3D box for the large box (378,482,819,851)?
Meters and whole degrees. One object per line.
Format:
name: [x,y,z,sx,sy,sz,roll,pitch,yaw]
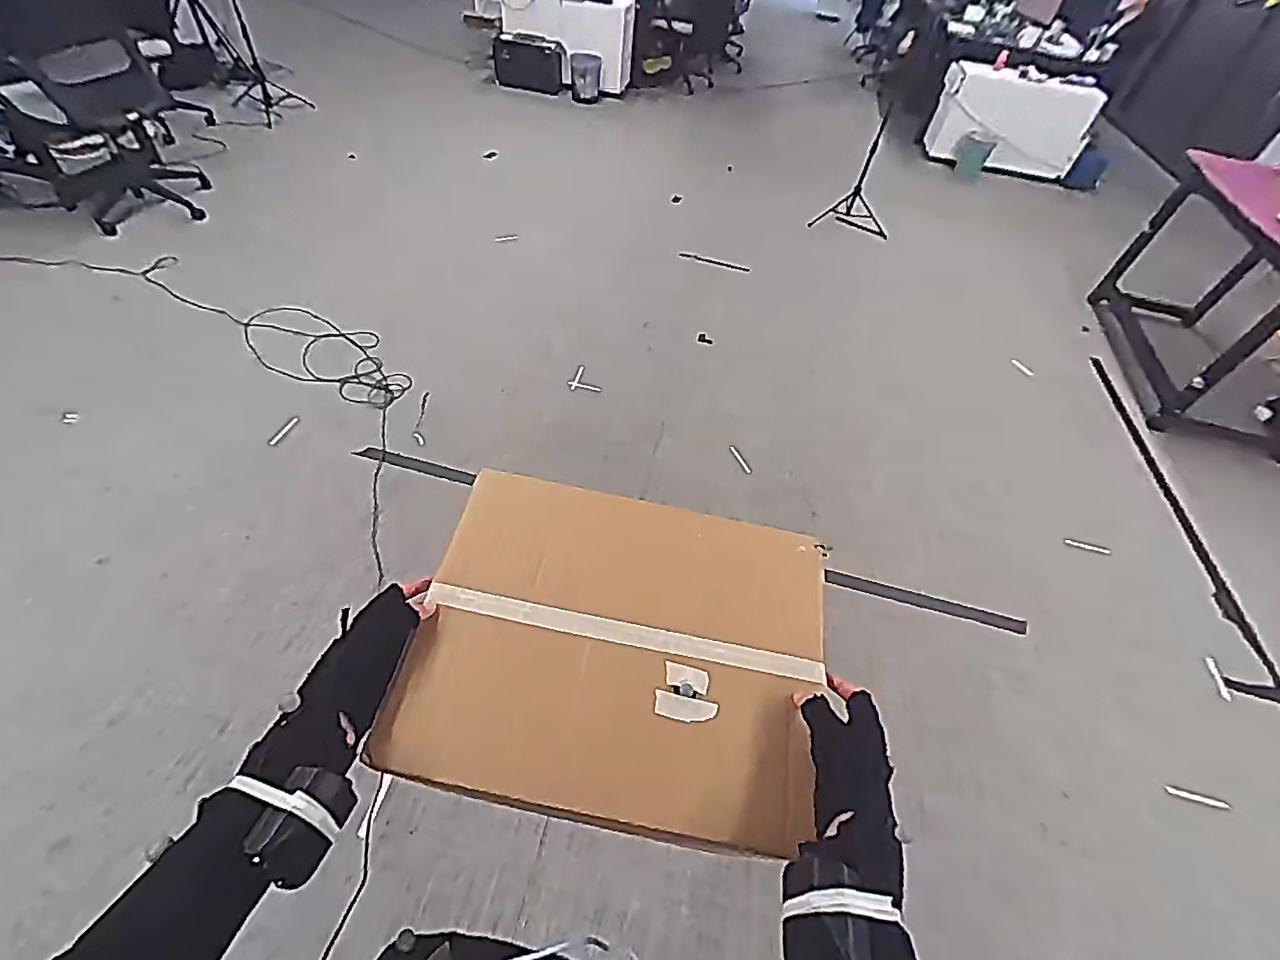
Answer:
large box: [-0.031,0.244,0.678,0.408,0.320,0.320,12,57,0]
